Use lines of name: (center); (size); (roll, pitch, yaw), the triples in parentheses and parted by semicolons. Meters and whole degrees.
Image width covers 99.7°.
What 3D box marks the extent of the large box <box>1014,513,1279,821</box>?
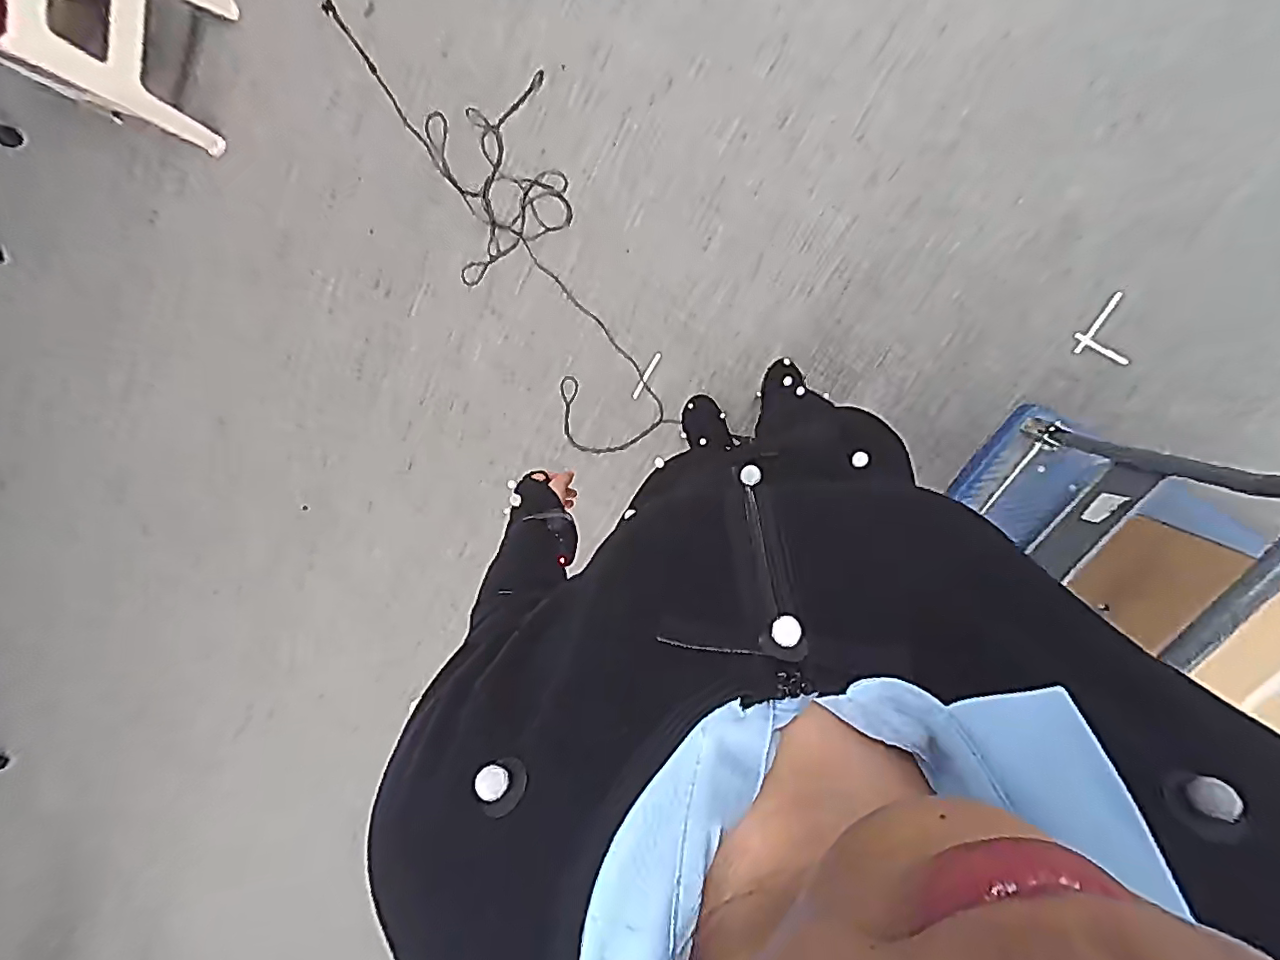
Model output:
large box: (1.065, 0.338, 1.060); (0.320, 0.320, 0.408); (34, 105, 1)
